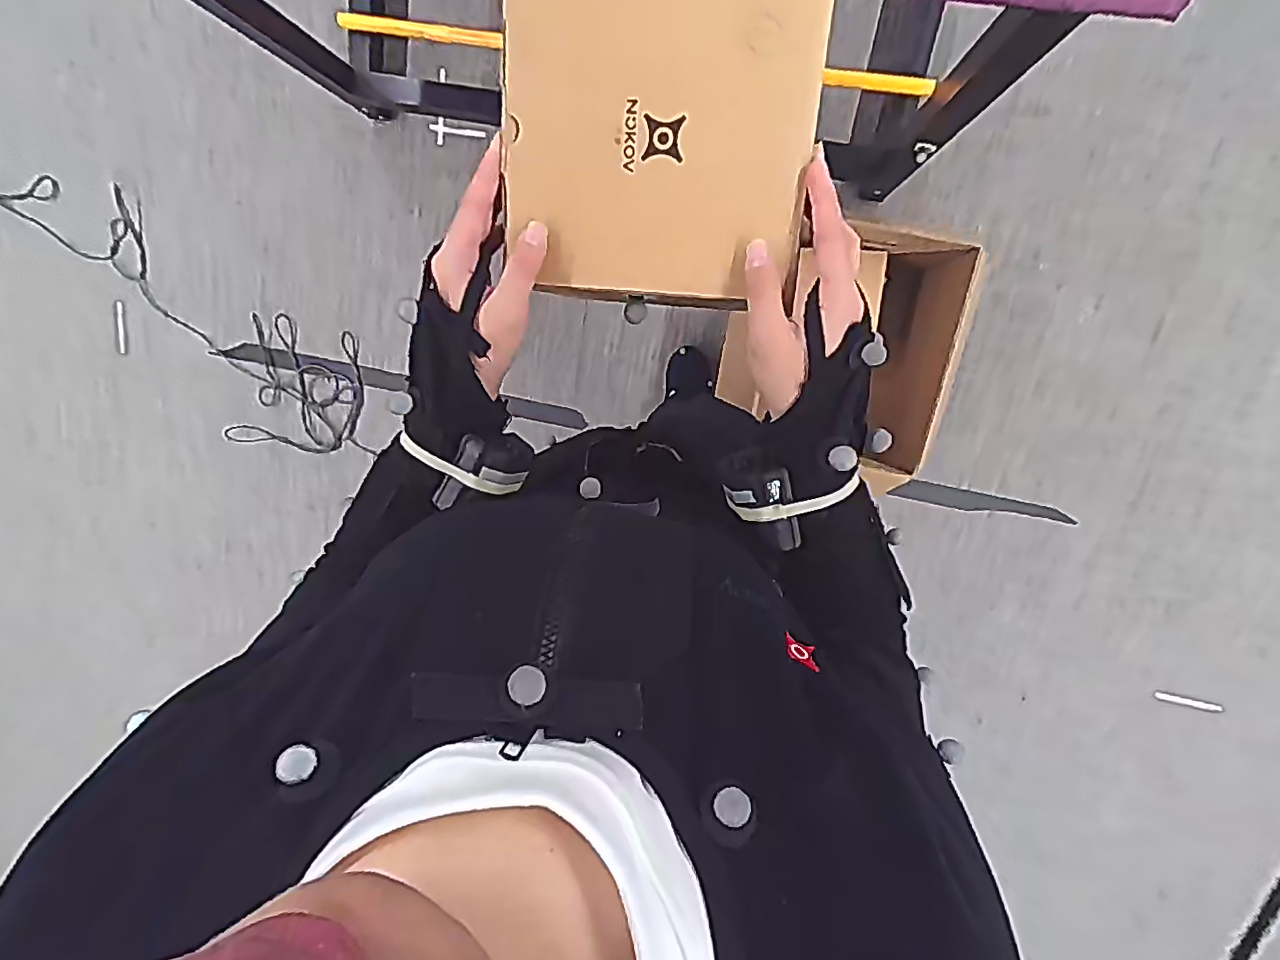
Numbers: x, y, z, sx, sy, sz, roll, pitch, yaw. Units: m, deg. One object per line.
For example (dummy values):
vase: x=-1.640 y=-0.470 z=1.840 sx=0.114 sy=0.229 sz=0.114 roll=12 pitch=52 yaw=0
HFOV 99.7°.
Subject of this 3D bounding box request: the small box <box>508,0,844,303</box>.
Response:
small box: x=0.019 y=-0.215 z=0.374 sx=0.179 sy=0.176 sz=0.168 roll=5 pitch=107 yaw=4
